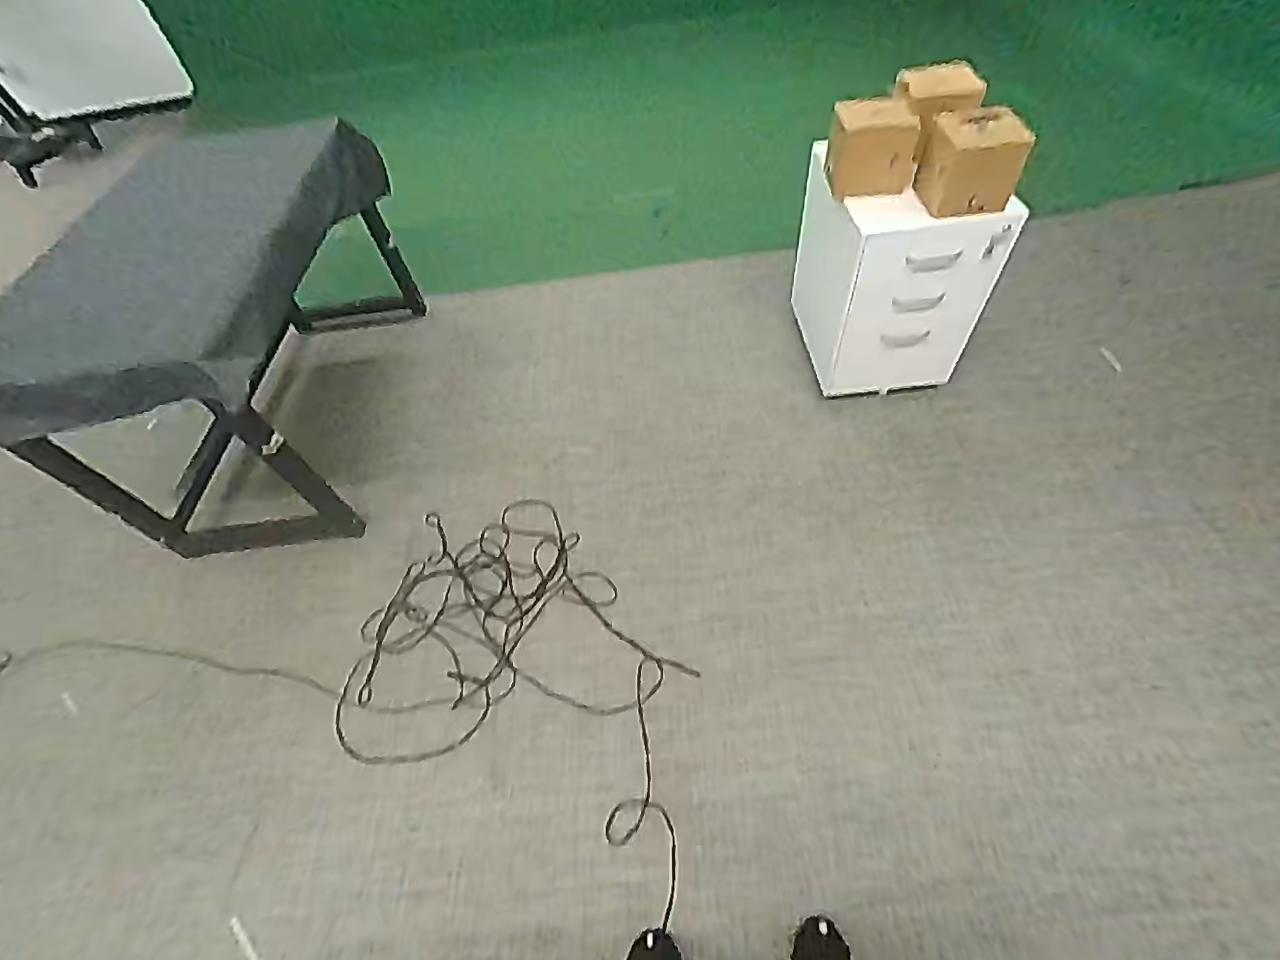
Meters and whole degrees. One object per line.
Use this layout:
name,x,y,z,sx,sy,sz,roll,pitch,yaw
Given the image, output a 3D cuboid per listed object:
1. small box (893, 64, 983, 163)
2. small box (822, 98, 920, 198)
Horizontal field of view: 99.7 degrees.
small box,0.784,-0.990,1.469,0.179,0.176,0.168,-4,54,5
small box,0.584,-0.850,1.391,0.179,0.176,0.168,-2,52,6
